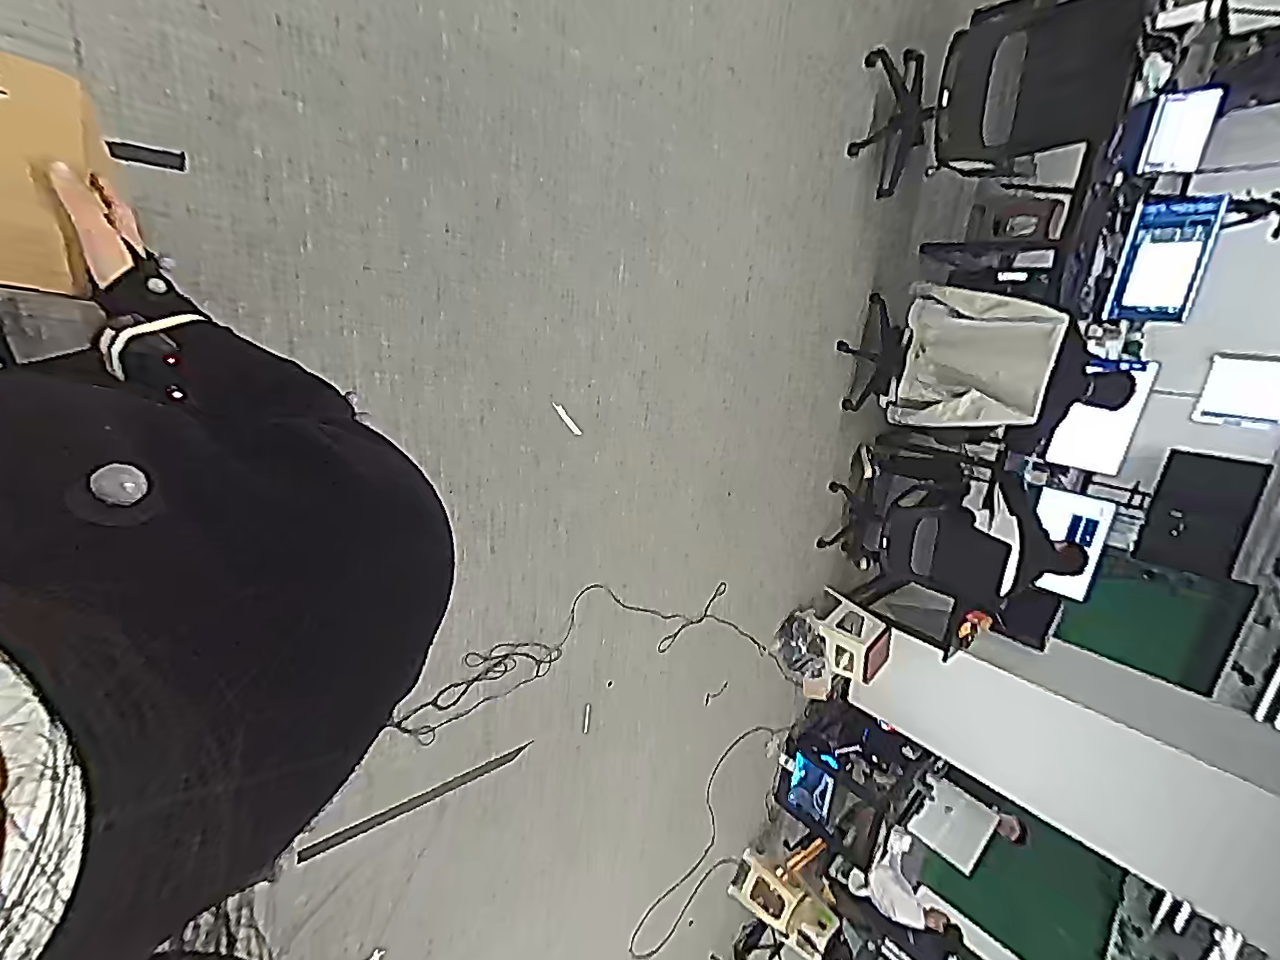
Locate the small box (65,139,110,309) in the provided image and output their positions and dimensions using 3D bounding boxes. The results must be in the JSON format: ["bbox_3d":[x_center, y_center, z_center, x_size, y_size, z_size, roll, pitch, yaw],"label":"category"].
[{"bbox_3d":[-0.690,-0.293,0.579,0.168,0.176,0.179,1,106,-42],"label":"small box"}]

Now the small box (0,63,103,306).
[{"bbox_3d":[-0.582,-0.258,0.461,0.168,0.176,0.179,-2,108,-42],"label":"small box"}]
